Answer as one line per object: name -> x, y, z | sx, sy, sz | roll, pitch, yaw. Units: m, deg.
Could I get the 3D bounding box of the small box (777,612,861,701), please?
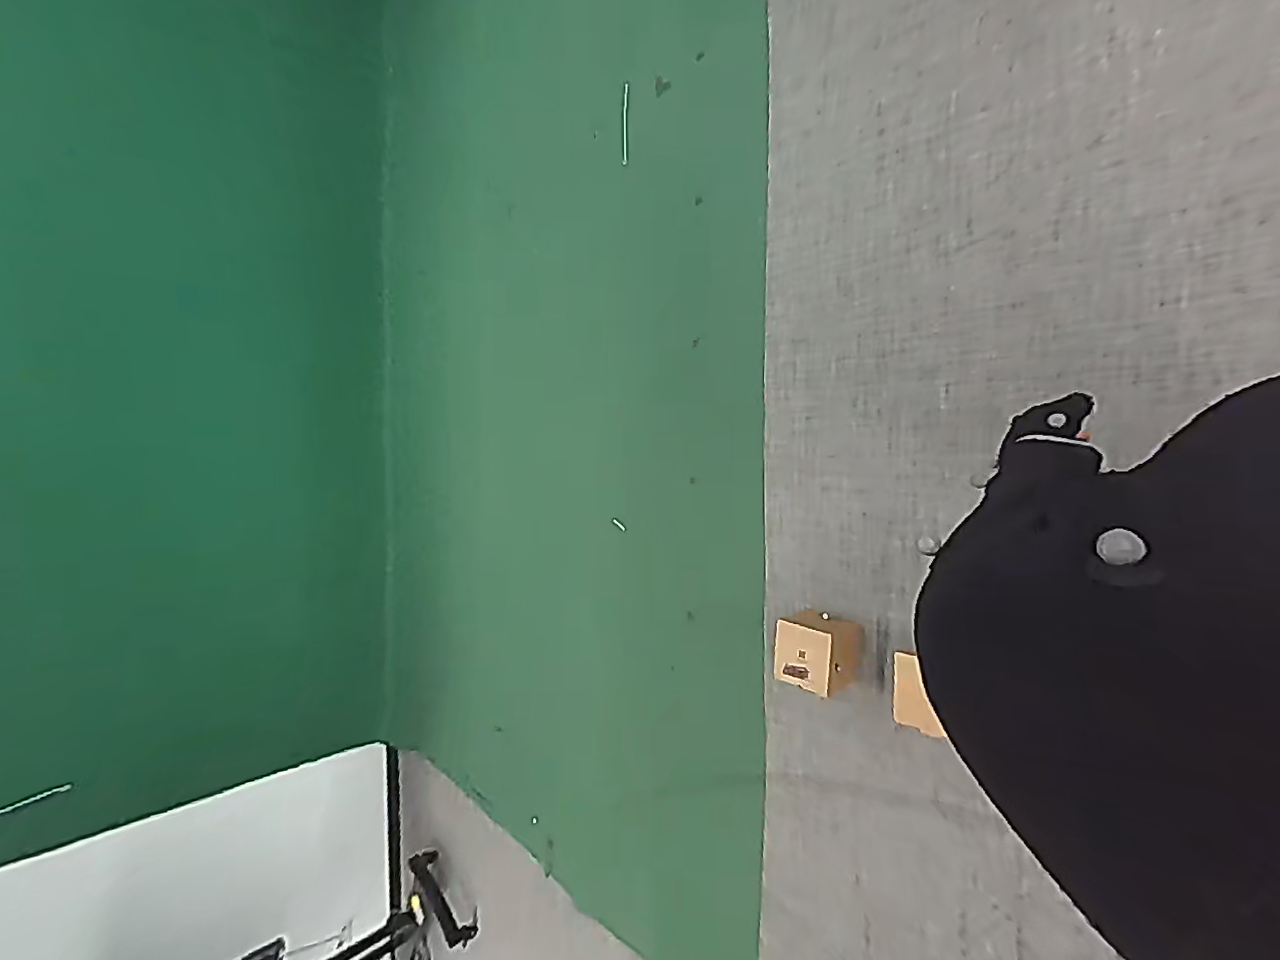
small box -> 0.506, 0.488, 1.525 | 0.168, 0.176, 0.179 | 6, 93, 45

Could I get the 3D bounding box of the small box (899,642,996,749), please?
small box -> 0.735, 0.502, 1.293 | 0.168, 0.176, 0.179 | 1, 91, 46
